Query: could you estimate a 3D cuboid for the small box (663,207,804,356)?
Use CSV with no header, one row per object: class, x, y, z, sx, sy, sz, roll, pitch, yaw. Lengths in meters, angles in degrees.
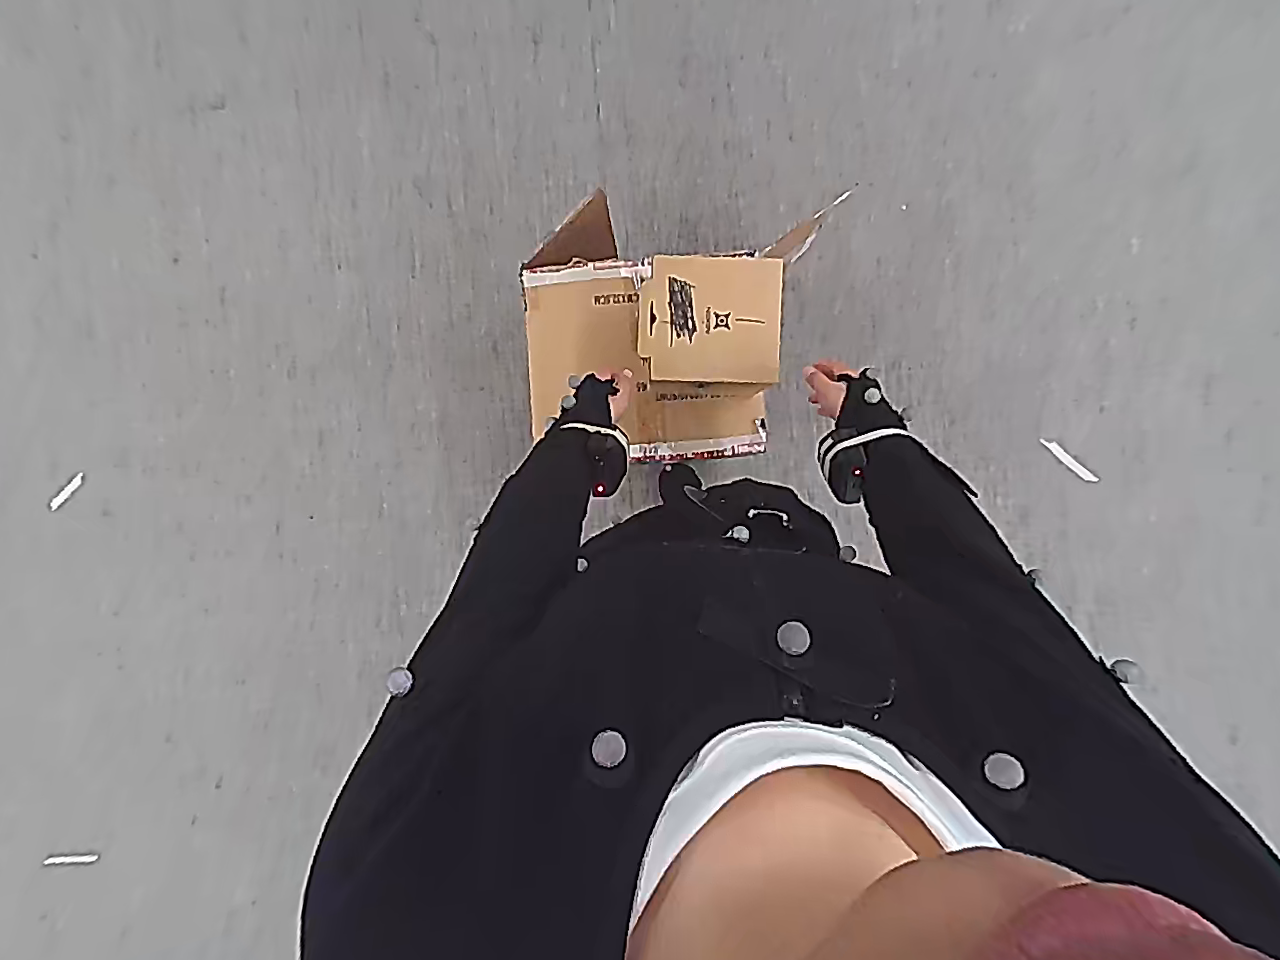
small box,0.122,-0.273,0.778,0.179,0.176,0.168,2,96,1
